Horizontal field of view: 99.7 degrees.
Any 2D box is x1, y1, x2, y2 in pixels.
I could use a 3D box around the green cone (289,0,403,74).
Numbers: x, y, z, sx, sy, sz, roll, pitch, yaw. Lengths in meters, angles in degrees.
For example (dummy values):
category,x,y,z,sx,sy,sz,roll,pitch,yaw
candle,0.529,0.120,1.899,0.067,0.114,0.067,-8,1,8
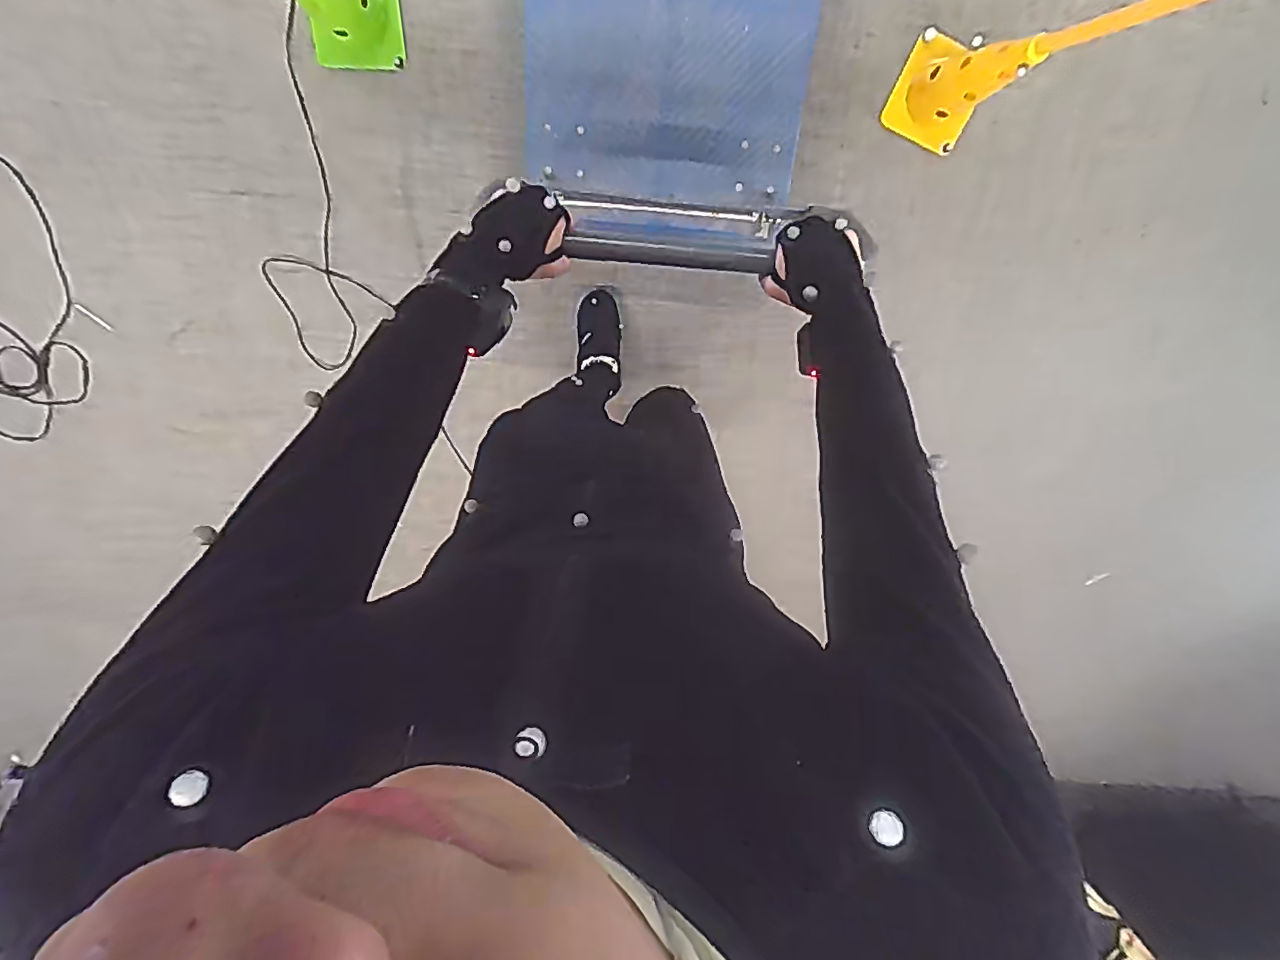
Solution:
category,x,y,z,sx,sy,sz,roll,pitch,yaw
green cone,-0.631,-0.941,1.025,0.202,0.368,0.200,1,114,0
